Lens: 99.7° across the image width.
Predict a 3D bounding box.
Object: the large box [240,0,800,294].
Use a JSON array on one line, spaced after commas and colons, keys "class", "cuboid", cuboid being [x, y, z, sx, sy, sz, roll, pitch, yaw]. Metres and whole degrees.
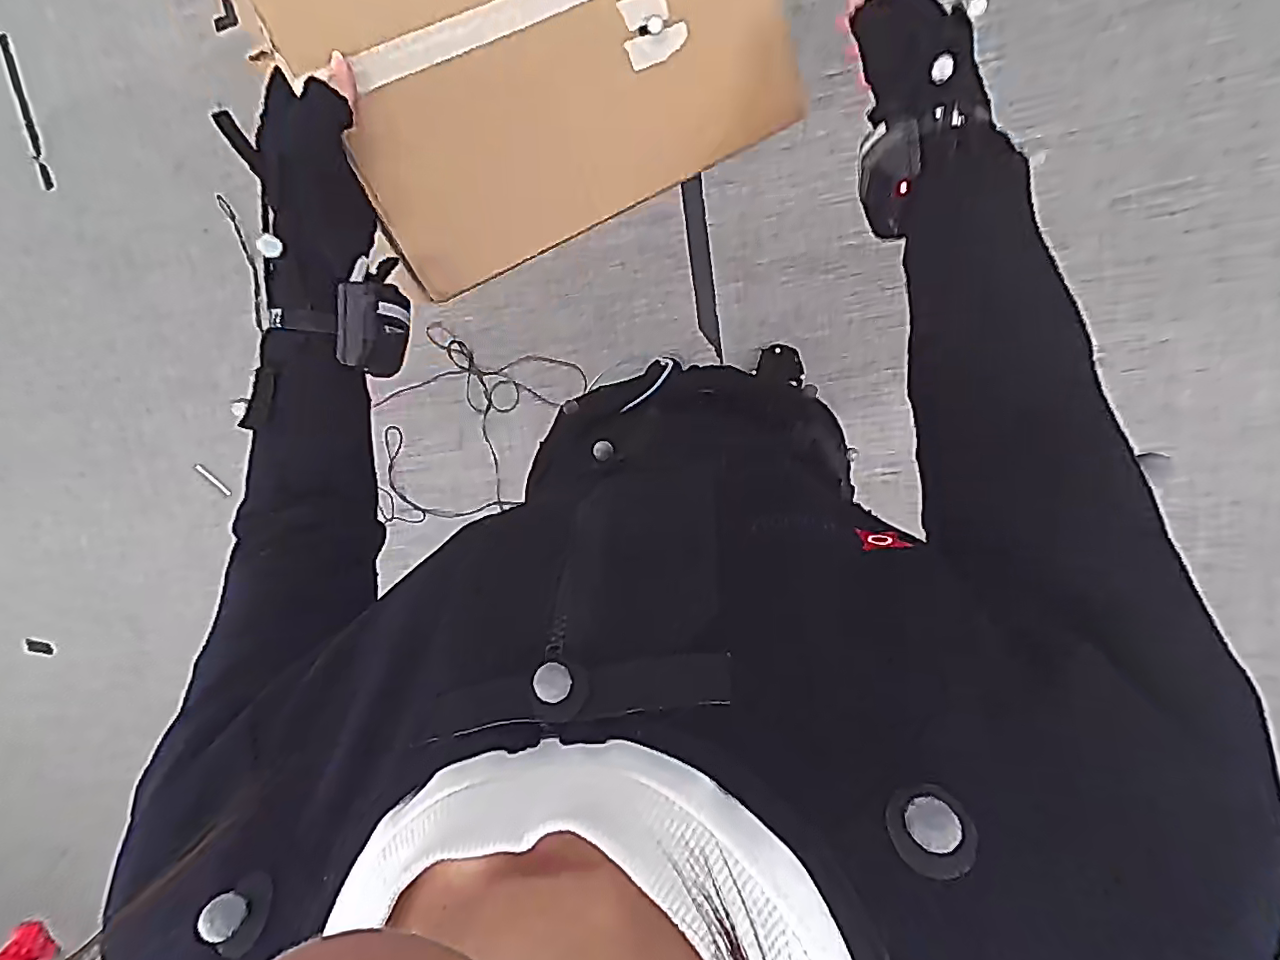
[{"class": "large box", "cuboid": [-0.125, -0.422, 0.551, 0.408, 0.320, 0.320, -32, 118, -12]}]
